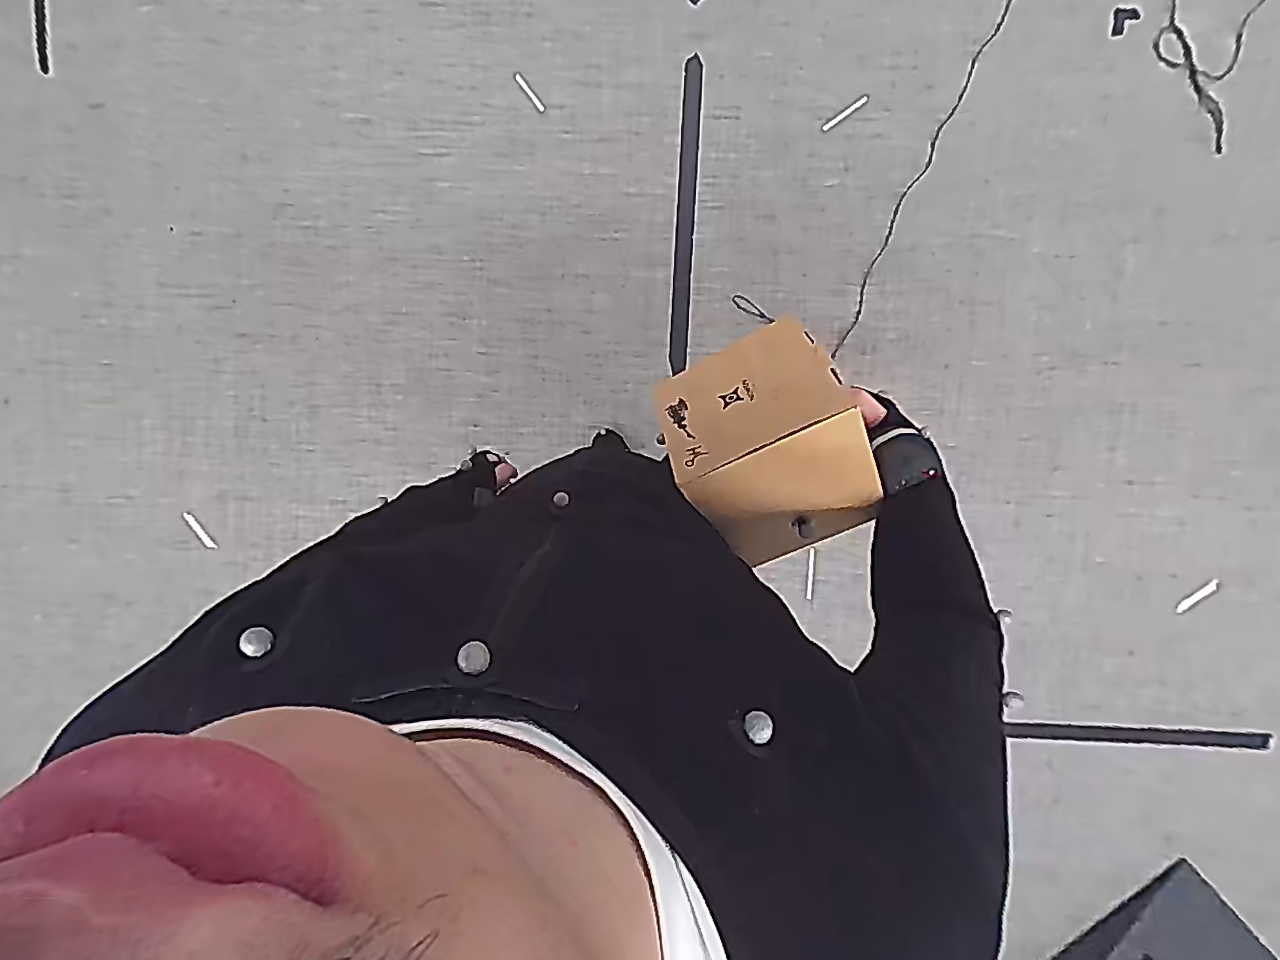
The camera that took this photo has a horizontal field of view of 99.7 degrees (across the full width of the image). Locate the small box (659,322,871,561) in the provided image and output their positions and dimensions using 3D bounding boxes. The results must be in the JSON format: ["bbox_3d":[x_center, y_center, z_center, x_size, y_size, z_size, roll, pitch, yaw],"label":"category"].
[{"bbox_3d":[0.143,-0.038,0.612,0.179,0.168,0.176,-25,131,13],"label":"small box"}]
